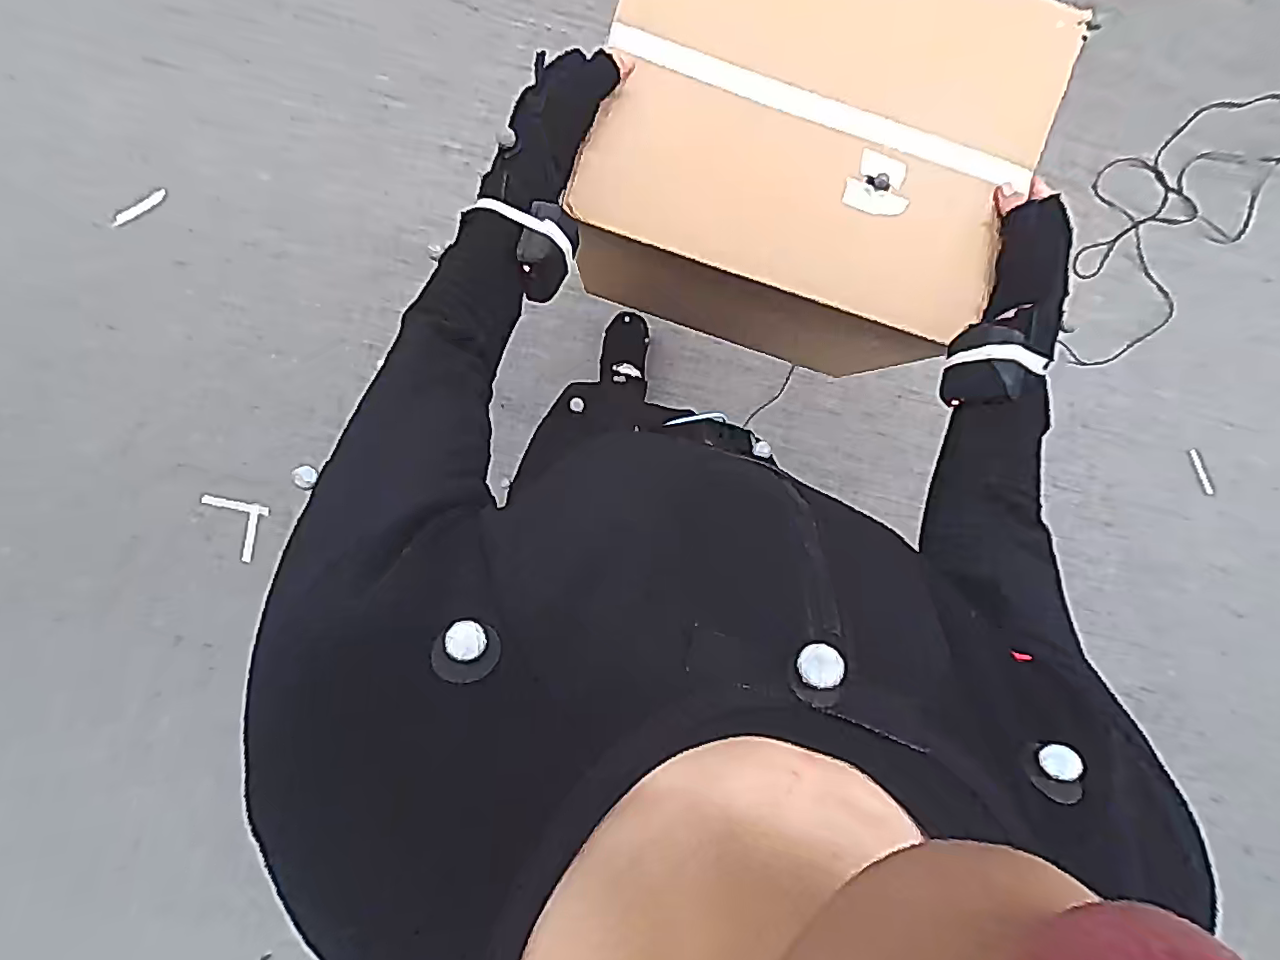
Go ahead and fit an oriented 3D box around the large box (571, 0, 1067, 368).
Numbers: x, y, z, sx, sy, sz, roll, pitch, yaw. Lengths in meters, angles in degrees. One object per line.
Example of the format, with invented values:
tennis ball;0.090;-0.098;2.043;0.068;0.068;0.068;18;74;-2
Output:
large box;0.156;-0.351;0.645;0.408;0.320;0.320;17;96;-5
